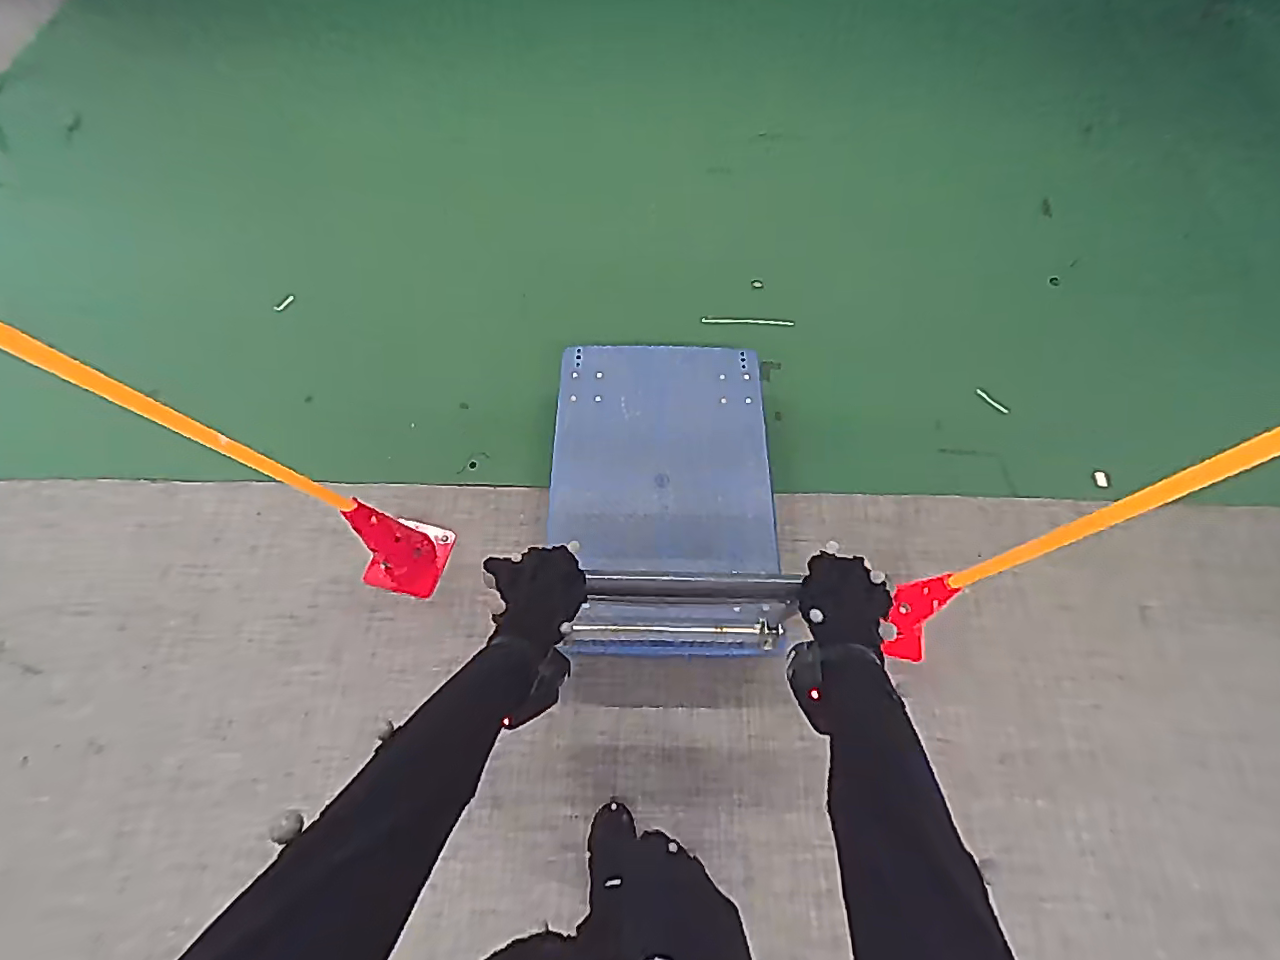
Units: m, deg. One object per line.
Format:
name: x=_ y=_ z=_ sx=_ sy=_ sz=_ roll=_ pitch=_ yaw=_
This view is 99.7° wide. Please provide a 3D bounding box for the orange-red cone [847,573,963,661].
orange-red cone: x=0.649 y=0.288 z=1.272 sx=0.198 sy=0.360 sz=0.199 roll=11 pitch=65 yaw=6
